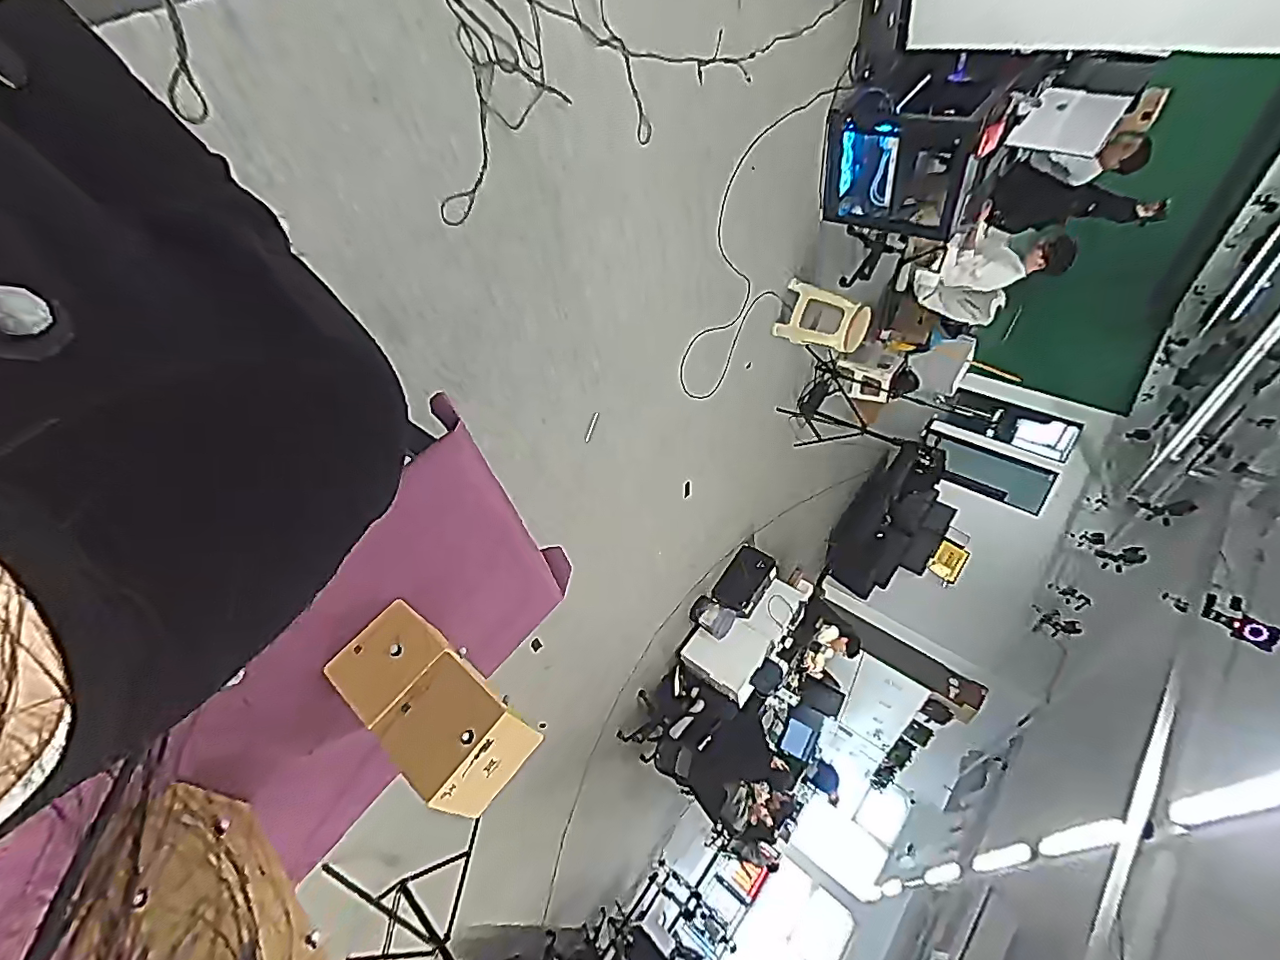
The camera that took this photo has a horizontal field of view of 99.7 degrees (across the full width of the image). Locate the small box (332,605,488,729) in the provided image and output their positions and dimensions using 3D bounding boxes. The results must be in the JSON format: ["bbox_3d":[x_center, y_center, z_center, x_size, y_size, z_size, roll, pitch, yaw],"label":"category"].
[{"bbox_3d":[-0.420,0.356,0.995,0.168,0.176,0.179,-47,146,-23],"label":"small box"}]

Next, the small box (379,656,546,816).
[{"bbox_3d":[-0.295,0.429,0.915,0.168,0.176,0.179,-48,147,-22],"label":"small box"}]

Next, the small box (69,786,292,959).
[{"bbox_3d":[-0.681,0.600,0.808,0.179,0.176,0.168,-44,144,-25],"label":"small box"}]
